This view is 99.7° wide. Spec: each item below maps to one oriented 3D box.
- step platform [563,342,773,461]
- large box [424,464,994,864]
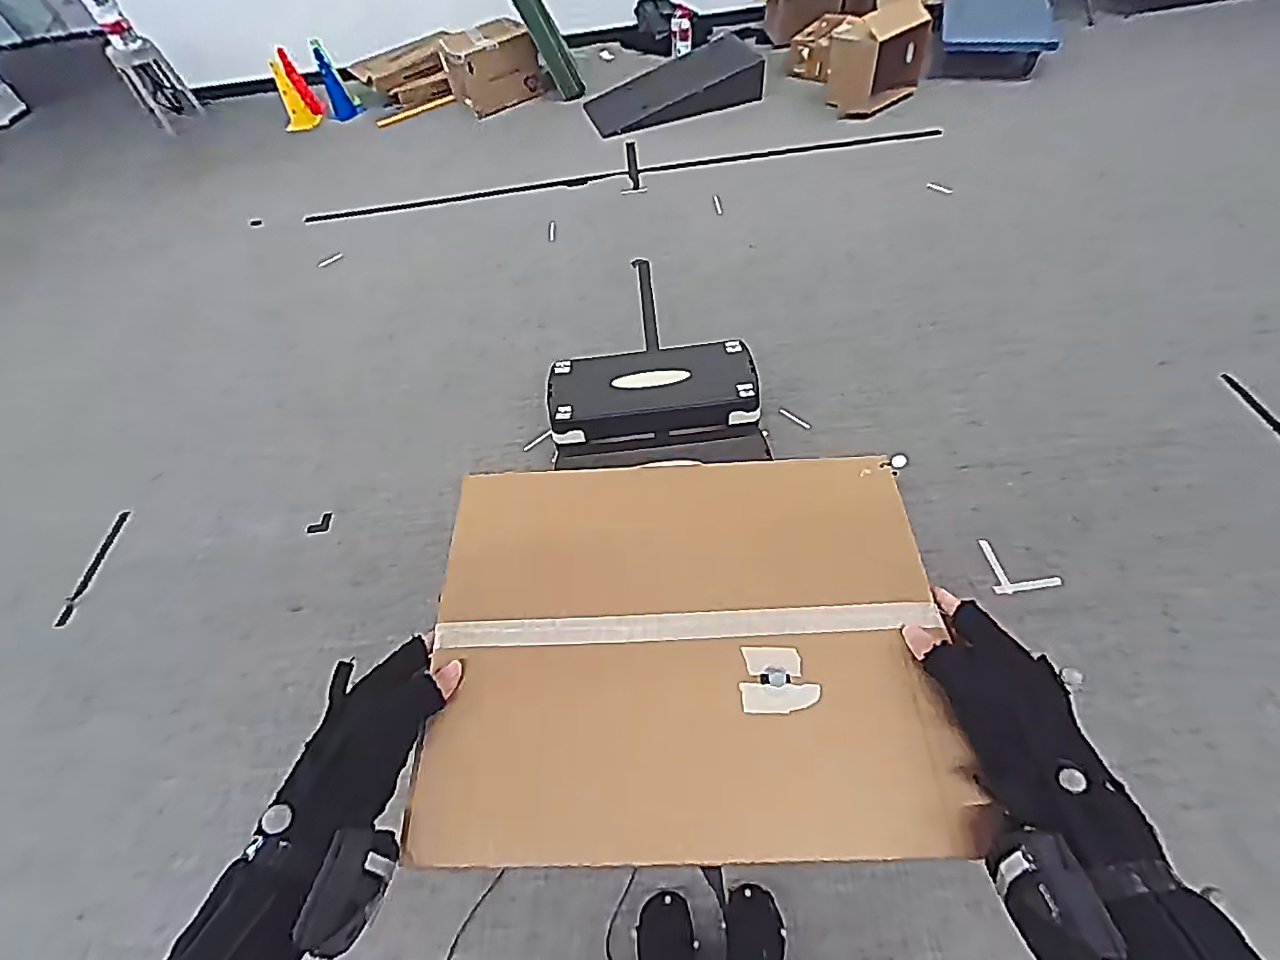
[{"bbox_3d":[0.089,-0.265,1.795,0.684,0.204,0.286,-7,55,1],"label":"step platform"},{"bbox_3d":[0.047,0.204,0.575,0.408,0.320,0.320,-3,58,2],"label":"large box"}]
